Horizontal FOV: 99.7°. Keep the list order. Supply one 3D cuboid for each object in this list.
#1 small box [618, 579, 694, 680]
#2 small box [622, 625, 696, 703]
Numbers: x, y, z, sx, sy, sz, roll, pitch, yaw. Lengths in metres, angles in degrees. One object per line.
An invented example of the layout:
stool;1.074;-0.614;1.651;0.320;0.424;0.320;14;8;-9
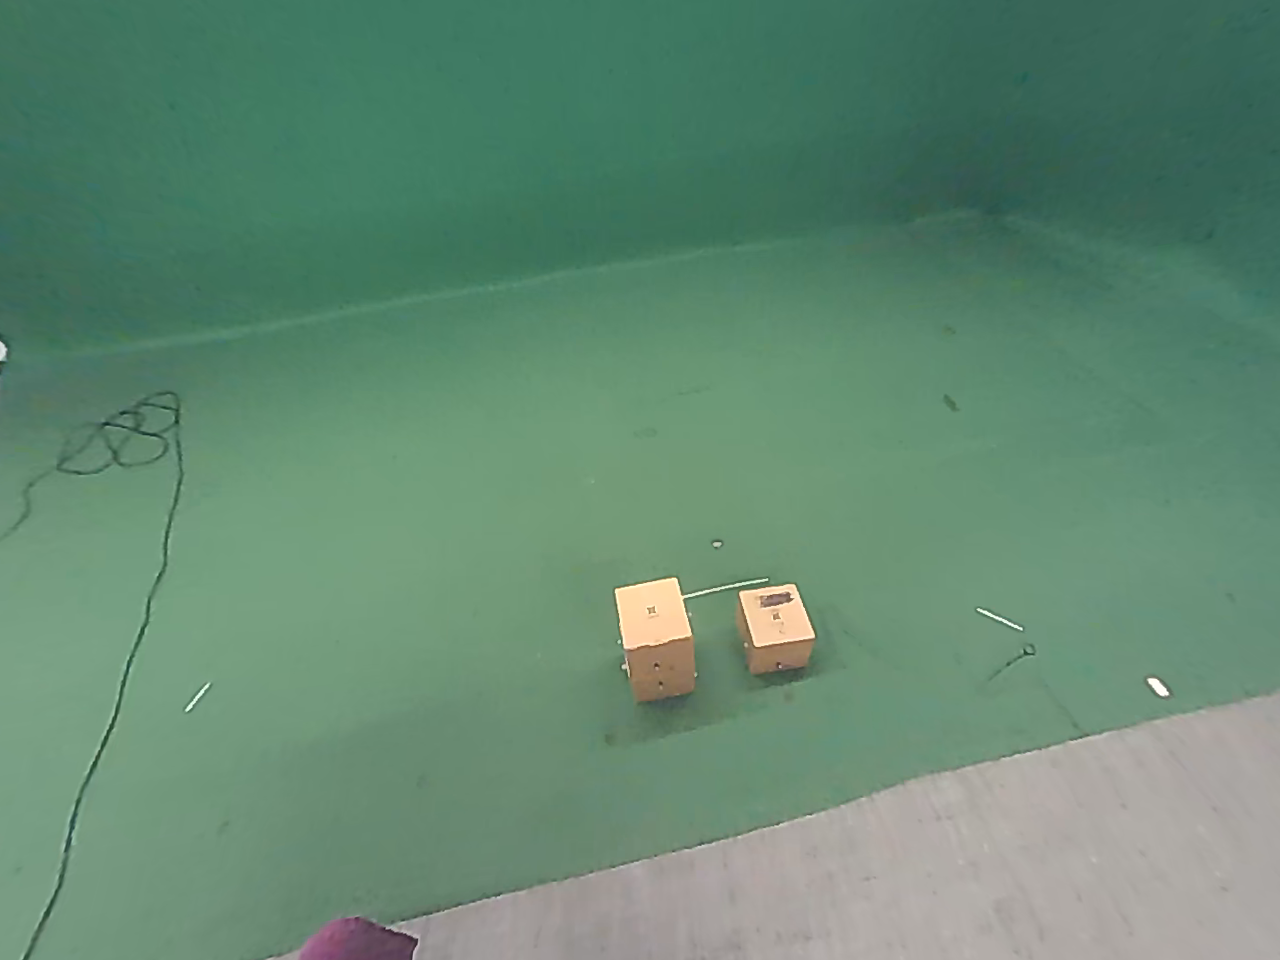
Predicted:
small box;0.041;0.385;1.390;0.168;0.176;0.179;-10;45;-3
small box;0.053;0.498;1.507;0.179;0.176;0.168;-11;45;-3
